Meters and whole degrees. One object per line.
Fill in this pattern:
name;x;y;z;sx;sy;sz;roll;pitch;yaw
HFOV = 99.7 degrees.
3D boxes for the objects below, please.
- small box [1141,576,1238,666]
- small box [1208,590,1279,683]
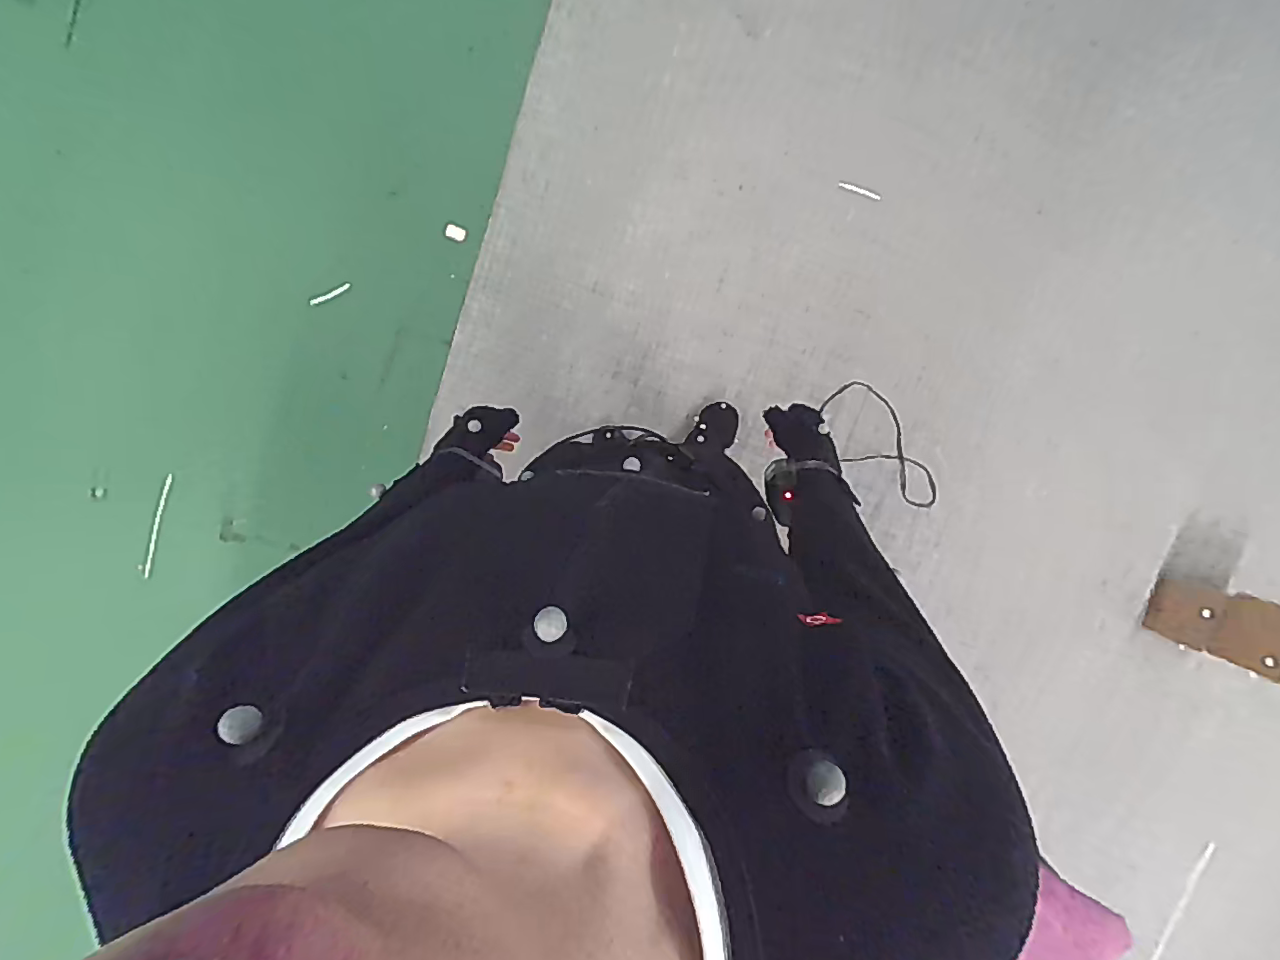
small box;1.490;0.367;1.413;0.179;0.176;0.168;18;97;-2
small box;1.494;0.376;1.249;0.168;0.176;0.179;18;97;-1
